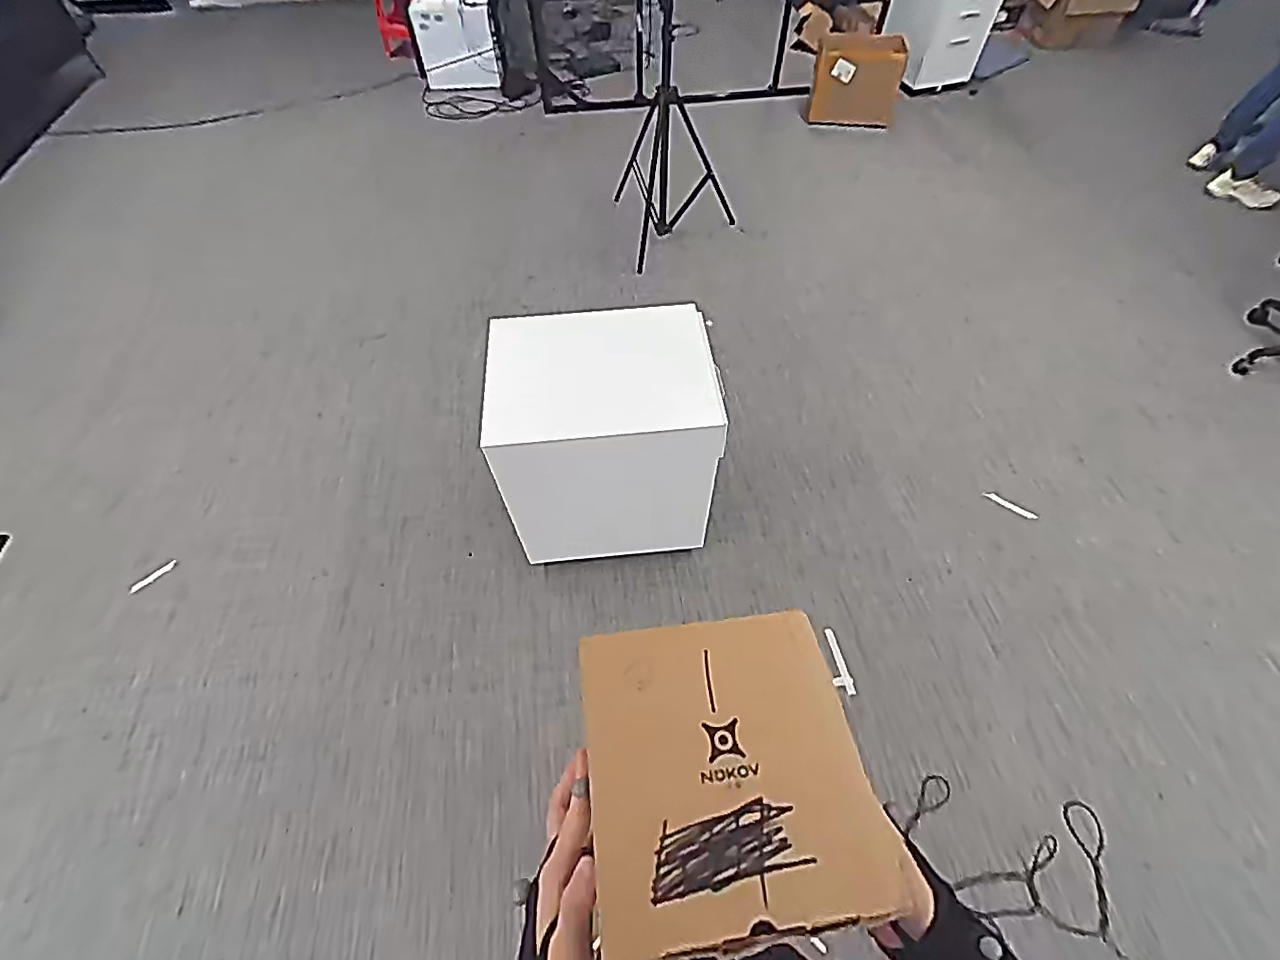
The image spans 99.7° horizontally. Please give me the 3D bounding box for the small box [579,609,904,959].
[{"bbox_3d":[0.048,0.217,0.390,0.168,0.176,0.179,-5,50,-6],"label":"small box"}]
